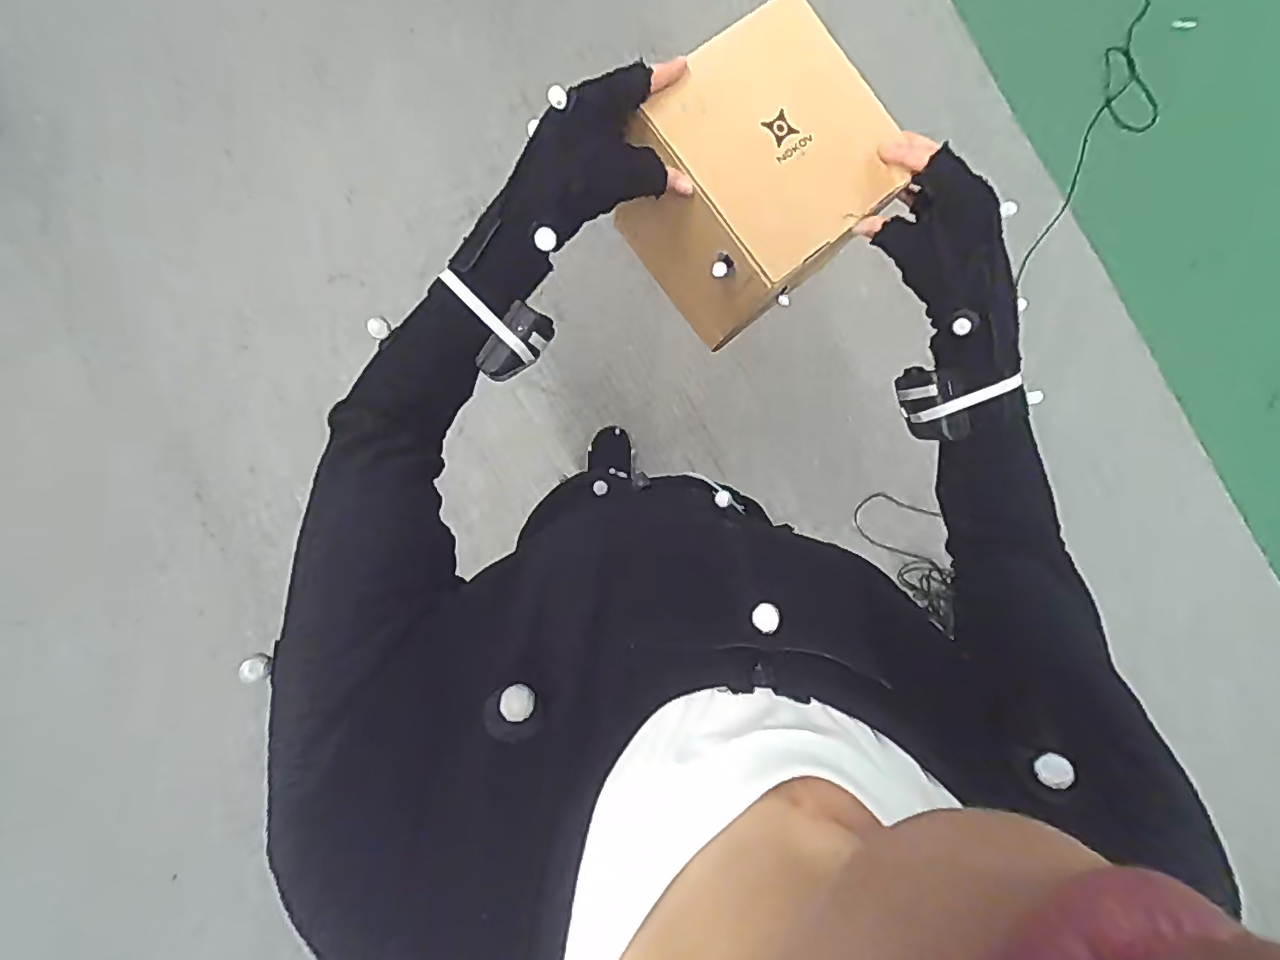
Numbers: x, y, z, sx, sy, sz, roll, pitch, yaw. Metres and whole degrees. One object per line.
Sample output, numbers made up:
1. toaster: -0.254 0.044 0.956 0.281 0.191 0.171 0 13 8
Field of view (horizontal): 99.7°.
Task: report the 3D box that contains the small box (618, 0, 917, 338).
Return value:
1. small box: 0.097 -0.262 0.496 0.168 0.176 0.179 -39 93 -9
